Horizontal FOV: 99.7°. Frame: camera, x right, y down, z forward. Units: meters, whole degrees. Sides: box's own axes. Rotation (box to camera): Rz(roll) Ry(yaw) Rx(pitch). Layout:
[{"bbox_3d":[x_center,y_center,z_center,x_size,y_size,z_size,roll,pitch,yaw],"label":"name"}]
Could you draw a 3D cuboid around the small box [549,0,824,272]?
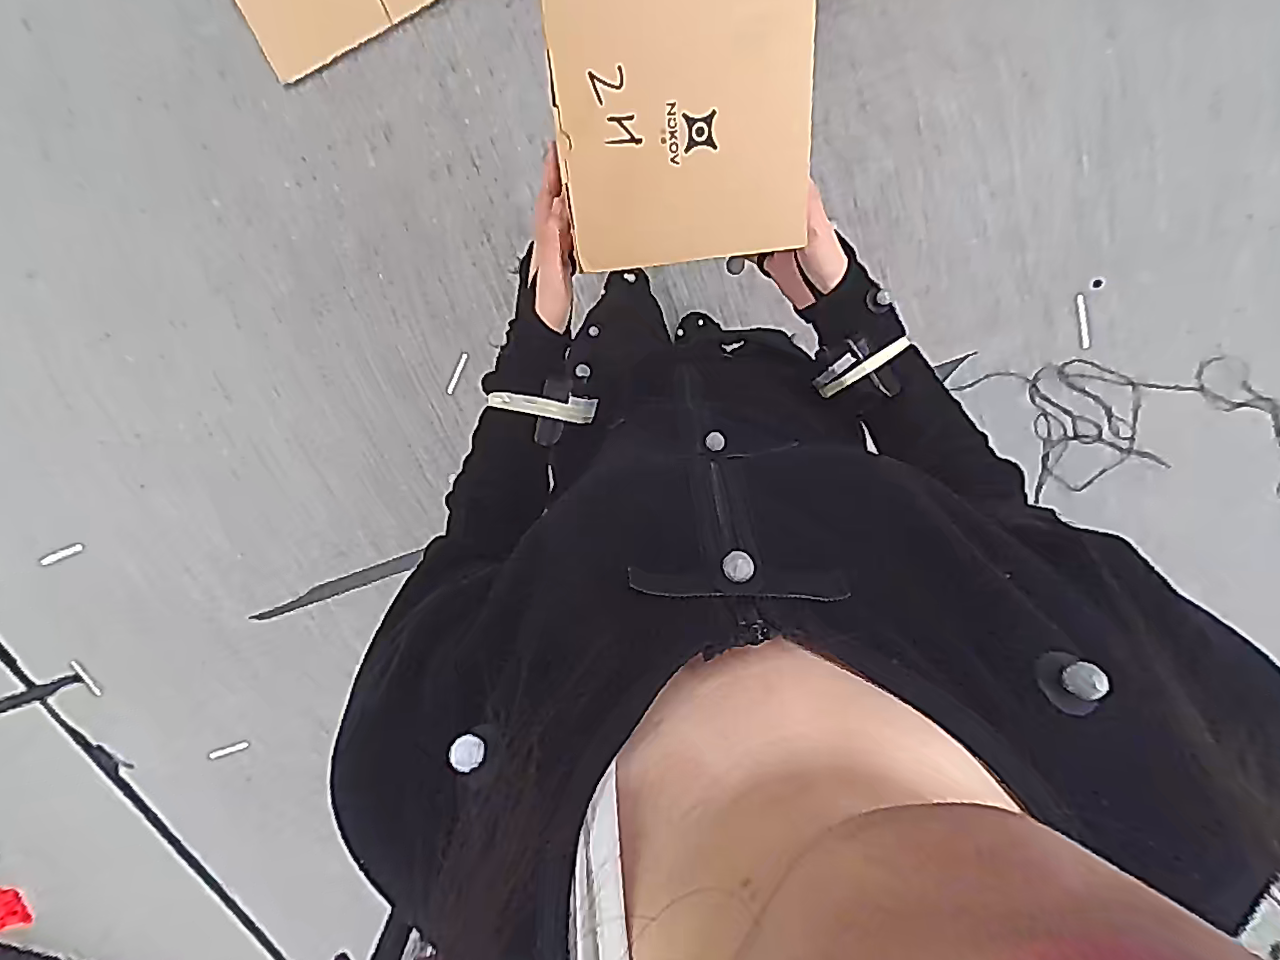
[{"bbox_3d":[0.027,-0.270,0.436,0.179,0.176,0.168,-8,116,-3],"label":"small box"}]
